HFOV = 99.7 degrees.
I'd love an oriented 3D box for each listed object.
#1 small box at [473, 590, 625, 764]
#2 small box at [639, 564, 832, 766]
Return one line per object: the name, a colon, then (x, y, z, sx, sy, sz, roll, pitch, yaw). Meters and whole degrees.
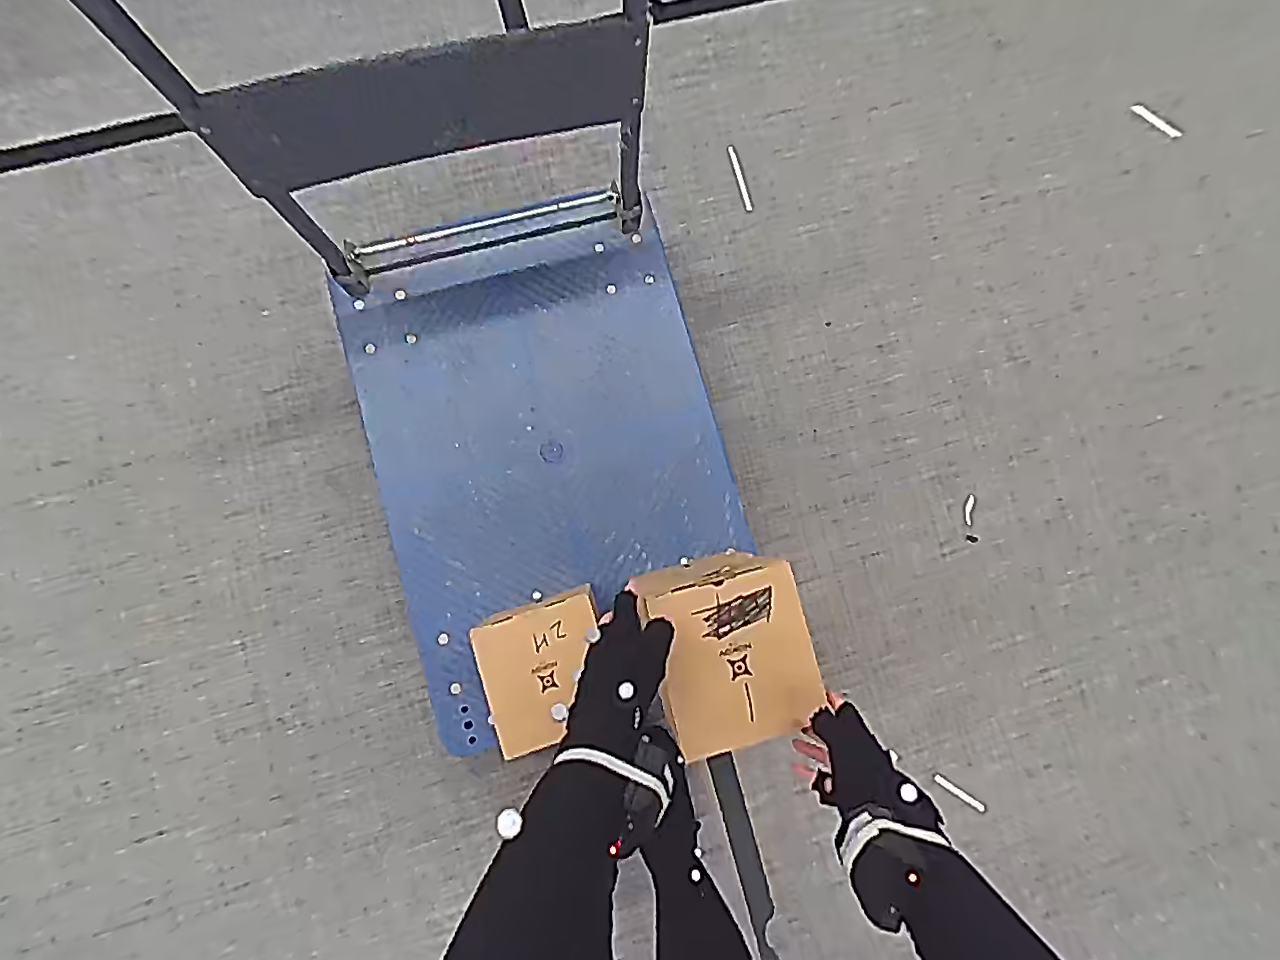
small box: (-0.125, 0.274, 0.794, 0.168, 0.176, 0.179, -17, 84, -6)
small box: (0.099, 0.204, 0.652, 0.168, 0.176, 0.179, -14, 85, -5)
